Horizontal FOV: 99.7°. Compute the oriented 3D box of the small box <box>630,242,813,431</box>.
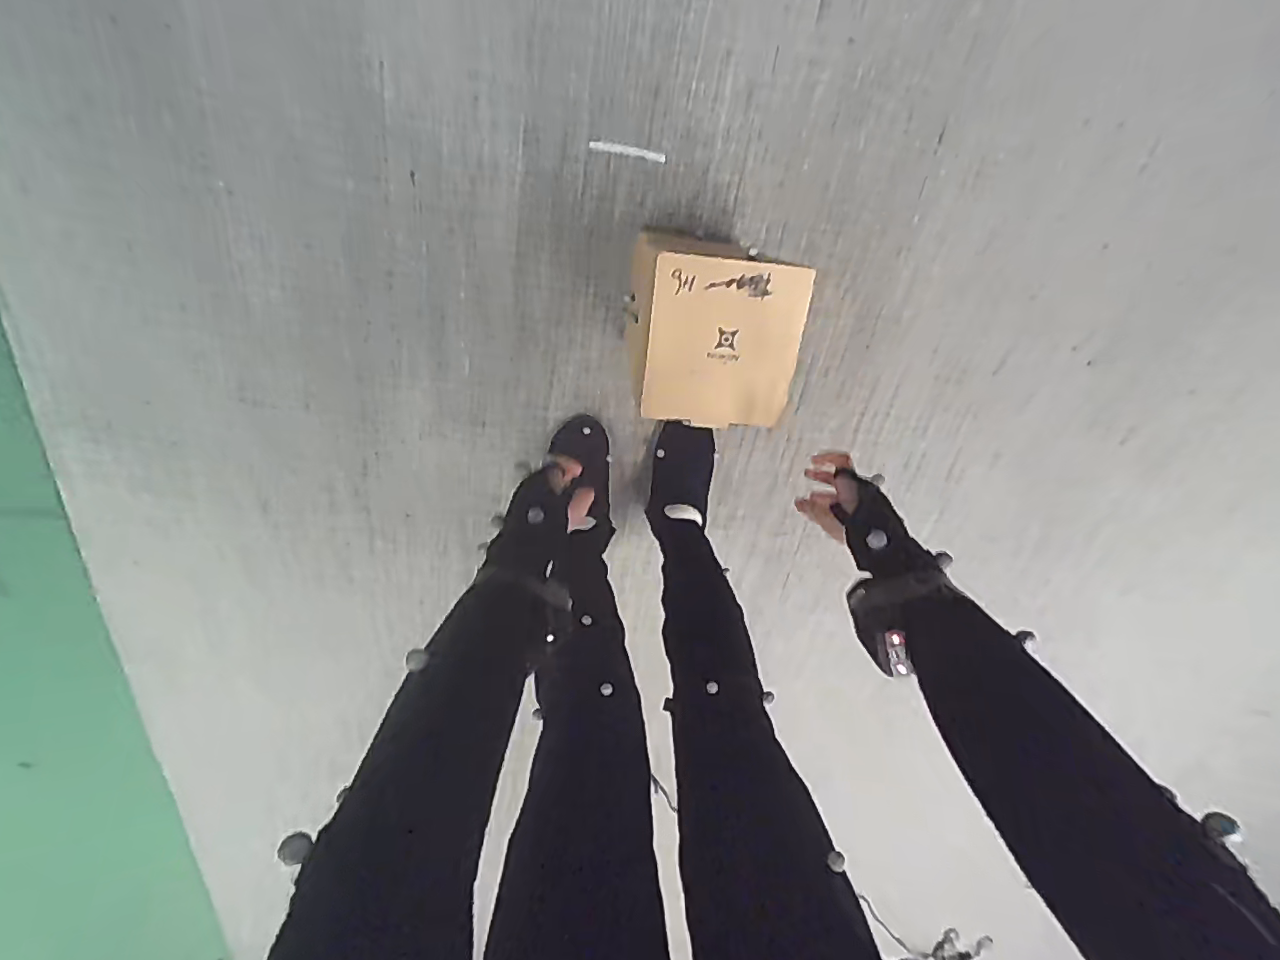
[{"bbox_3d":[0.080,-0.175,0.645,0.168,0.176,0.179,4,117,-7],"label":"small box"}]
